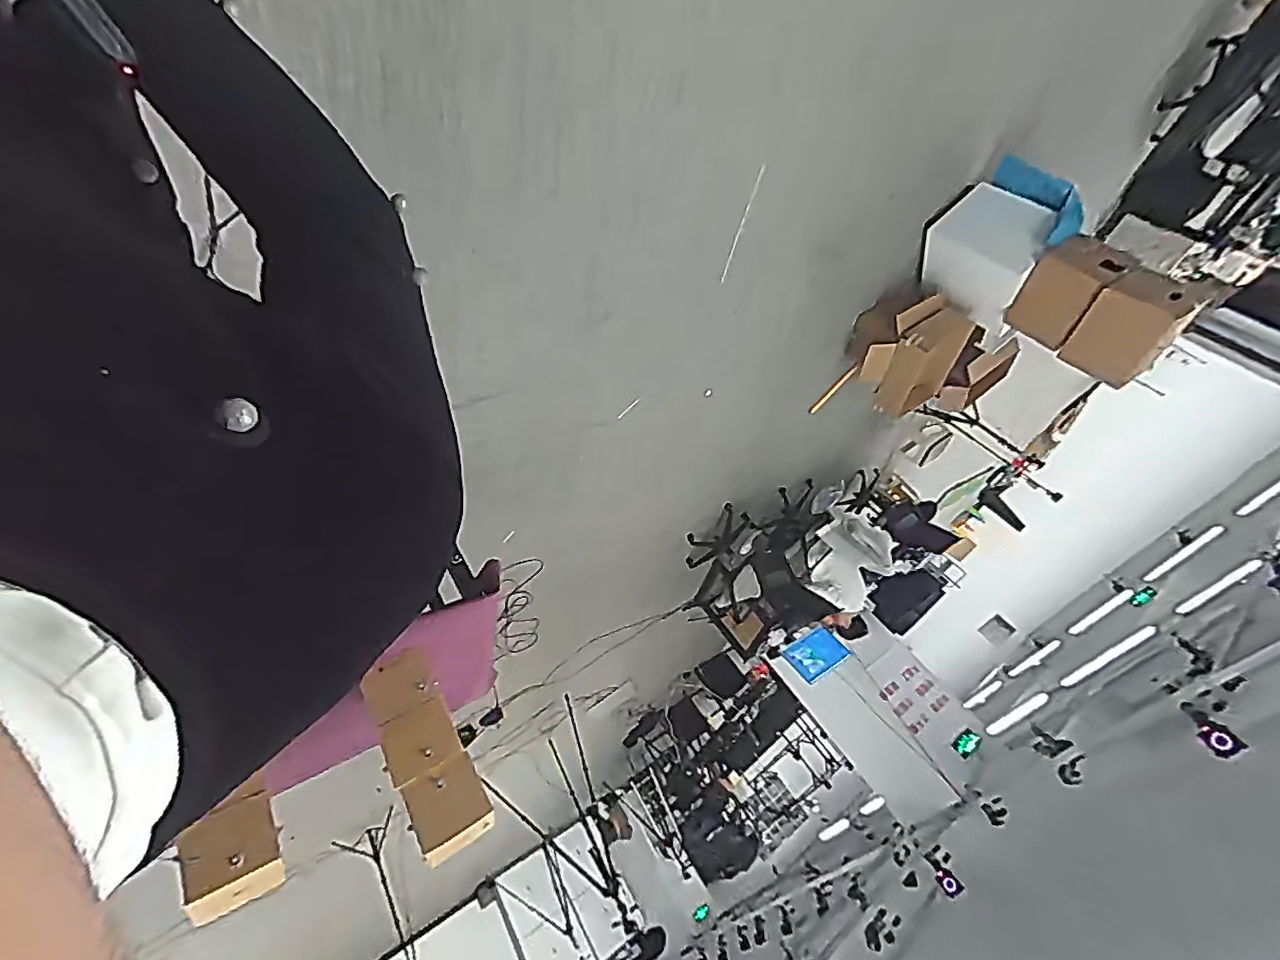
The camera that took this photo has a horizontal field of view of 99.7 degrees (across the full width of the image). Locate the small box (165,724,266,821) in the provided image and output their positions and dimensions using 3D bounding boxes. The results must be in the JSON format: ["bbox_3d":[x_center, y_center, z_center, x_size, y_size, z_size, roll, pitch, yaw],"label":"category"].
[{"bbox_3d":[-1.051,0.743,1.346,0.179,0.176,0.168,-10,139,-40],"label":"small box"}]

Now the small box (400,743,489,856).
[{"bbox_3d":[-0.507,0.822,1.398,0.179,0.176,0.168,-20,146,-30],"label":"small box"}]

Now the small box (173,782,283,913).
[{"bbox_3d":[-0.959,0.848,1.263,0.179,0.176,0.168,-11,139,-39],"label":"small box"}]

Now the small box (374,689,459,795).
[{"bbox_3d":[-0.602,0.704,1.463,0.179,0.176,0.168,-22,146,-29],"label":"small box"}]
